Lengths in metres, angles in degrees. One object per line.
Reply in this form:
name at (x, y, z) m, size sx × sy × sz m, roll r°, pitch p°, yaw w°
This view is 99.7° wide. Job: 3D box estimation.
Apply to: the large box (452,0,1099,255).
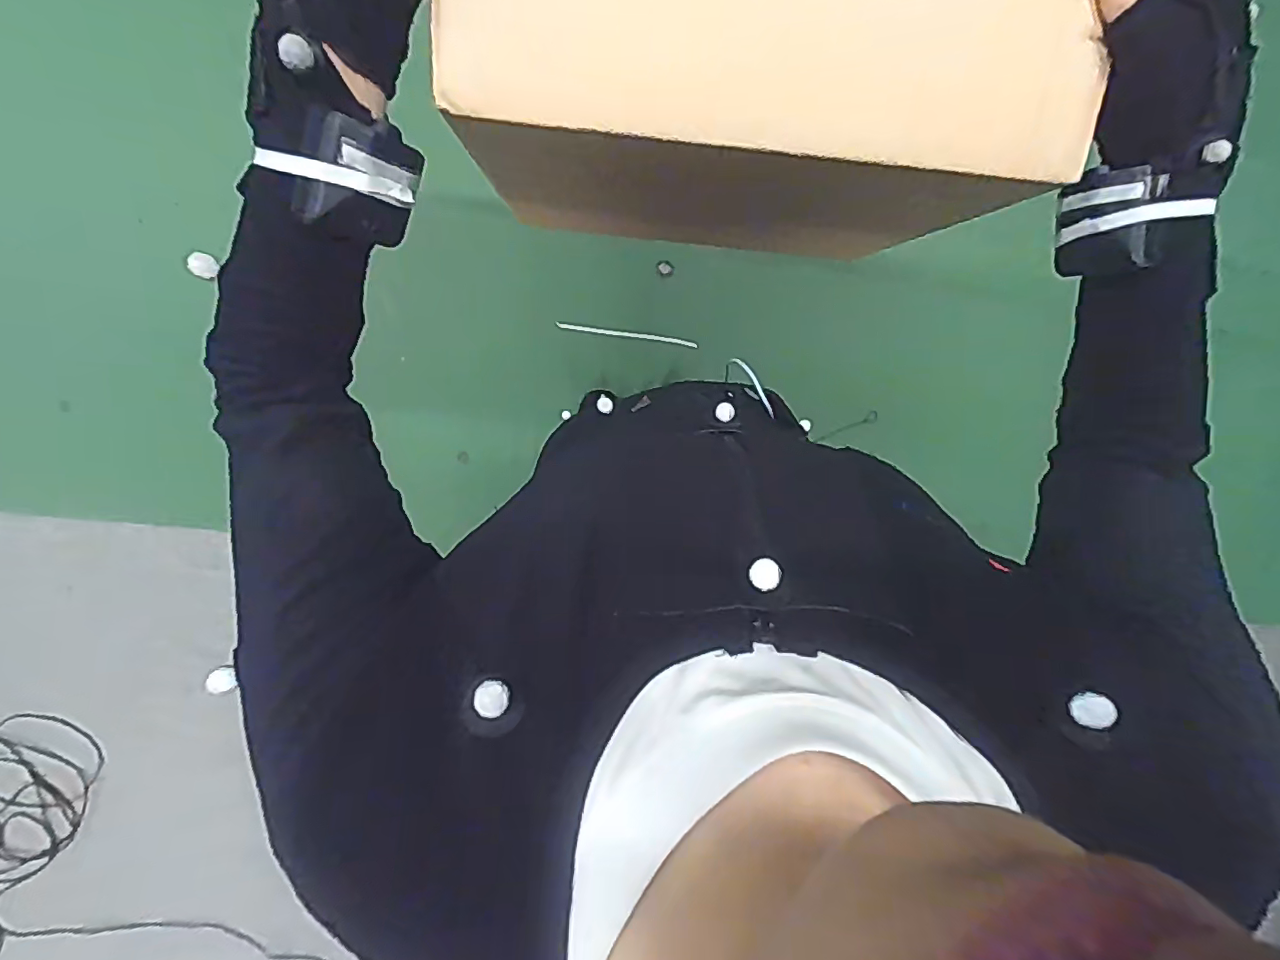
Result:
large box at (0.081, -0.392, 0.456) m, size 0.408 × 0.320 × 0.320 m, roll 3°, pitch 104°, yaw -4°
